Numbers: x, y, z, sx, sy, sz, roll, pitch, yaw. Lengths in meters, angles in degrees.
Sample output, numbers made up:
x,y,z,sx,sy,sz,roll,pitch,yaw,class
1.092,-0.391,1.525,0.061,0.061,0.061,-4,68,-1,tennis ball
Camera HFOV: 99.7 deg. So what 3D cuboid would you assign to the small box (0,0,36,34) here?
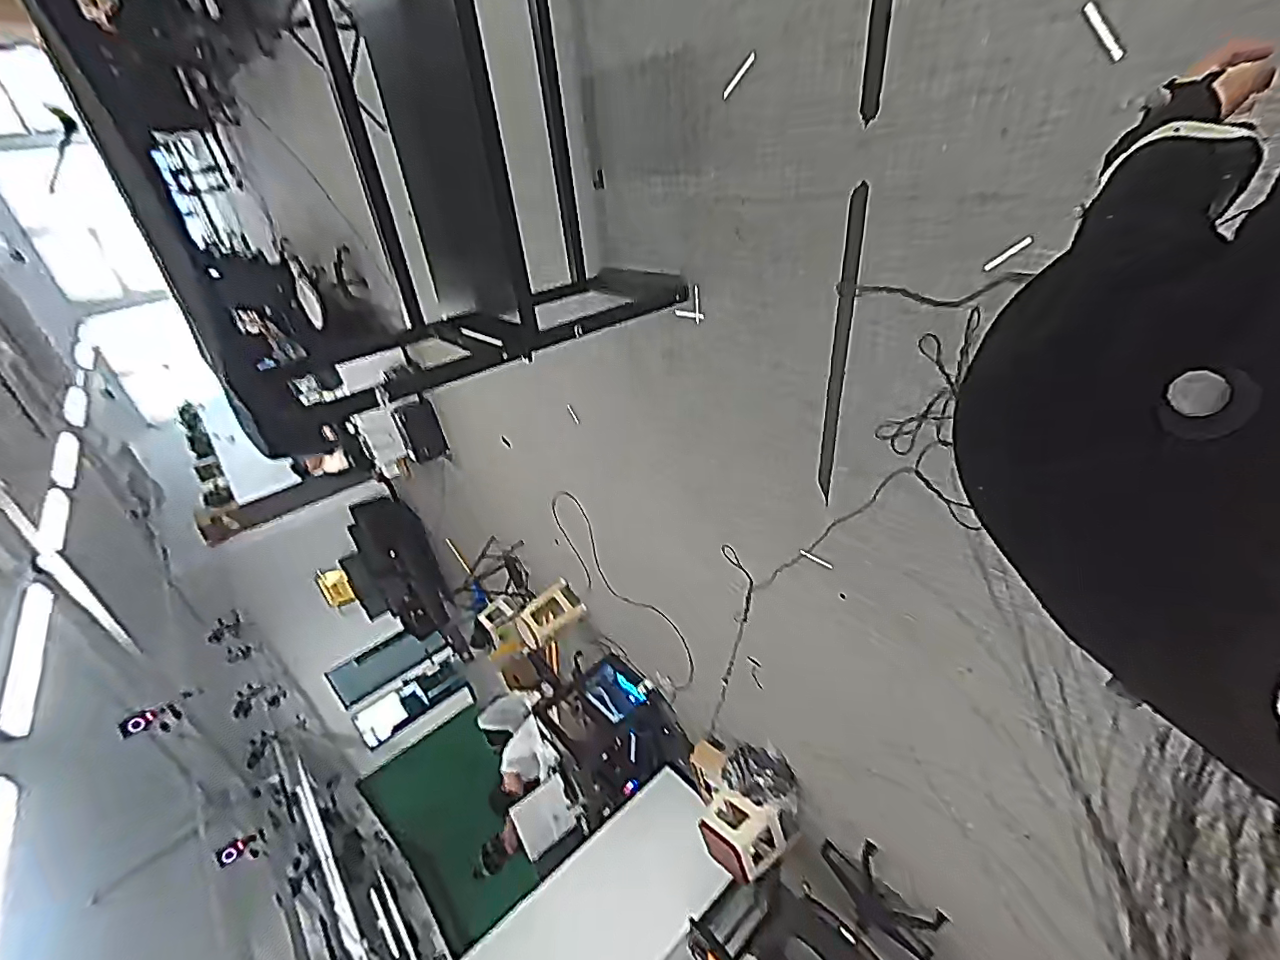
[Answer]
x,y,z,sx,sy,sz,roll,pitch,yaw,class
-1.127,-0.829,0.861,0.179,0.176,0.168,30,138,42,small box
